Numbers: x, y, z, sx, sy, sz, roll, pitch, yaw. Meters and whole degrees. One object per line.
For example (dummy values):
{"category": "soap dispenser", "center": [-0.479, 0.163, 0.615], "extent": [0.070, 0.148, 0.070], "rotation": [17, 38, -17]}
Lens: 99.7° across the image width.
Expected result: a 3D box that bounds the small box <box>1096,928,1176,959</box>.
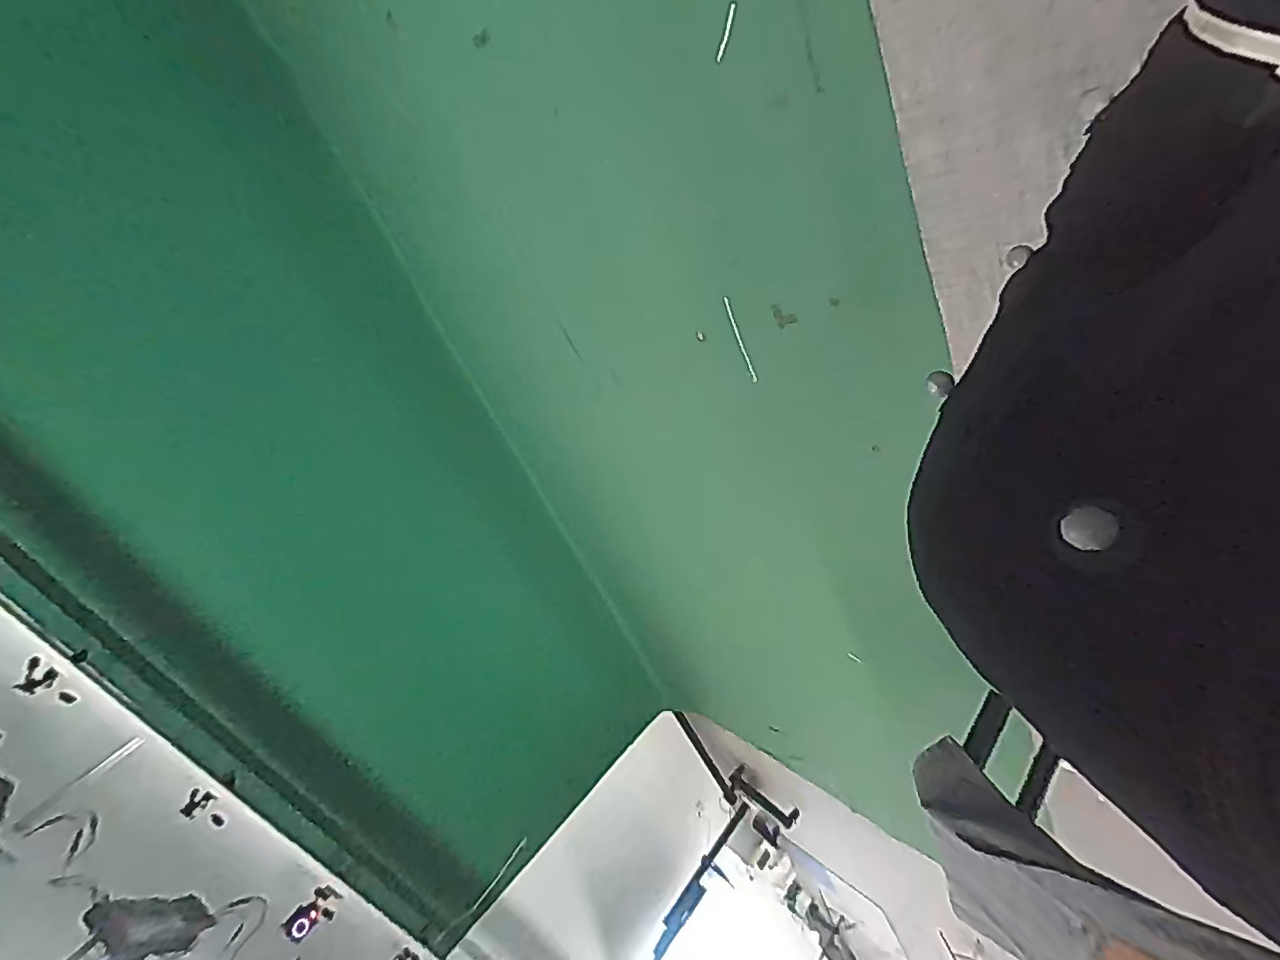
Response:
{"category": "small box", "center": [0.999, 1.028, 1.050], "extent": [0.179, 0.176, 0.168], "rotation": [10, 134, 53]}
